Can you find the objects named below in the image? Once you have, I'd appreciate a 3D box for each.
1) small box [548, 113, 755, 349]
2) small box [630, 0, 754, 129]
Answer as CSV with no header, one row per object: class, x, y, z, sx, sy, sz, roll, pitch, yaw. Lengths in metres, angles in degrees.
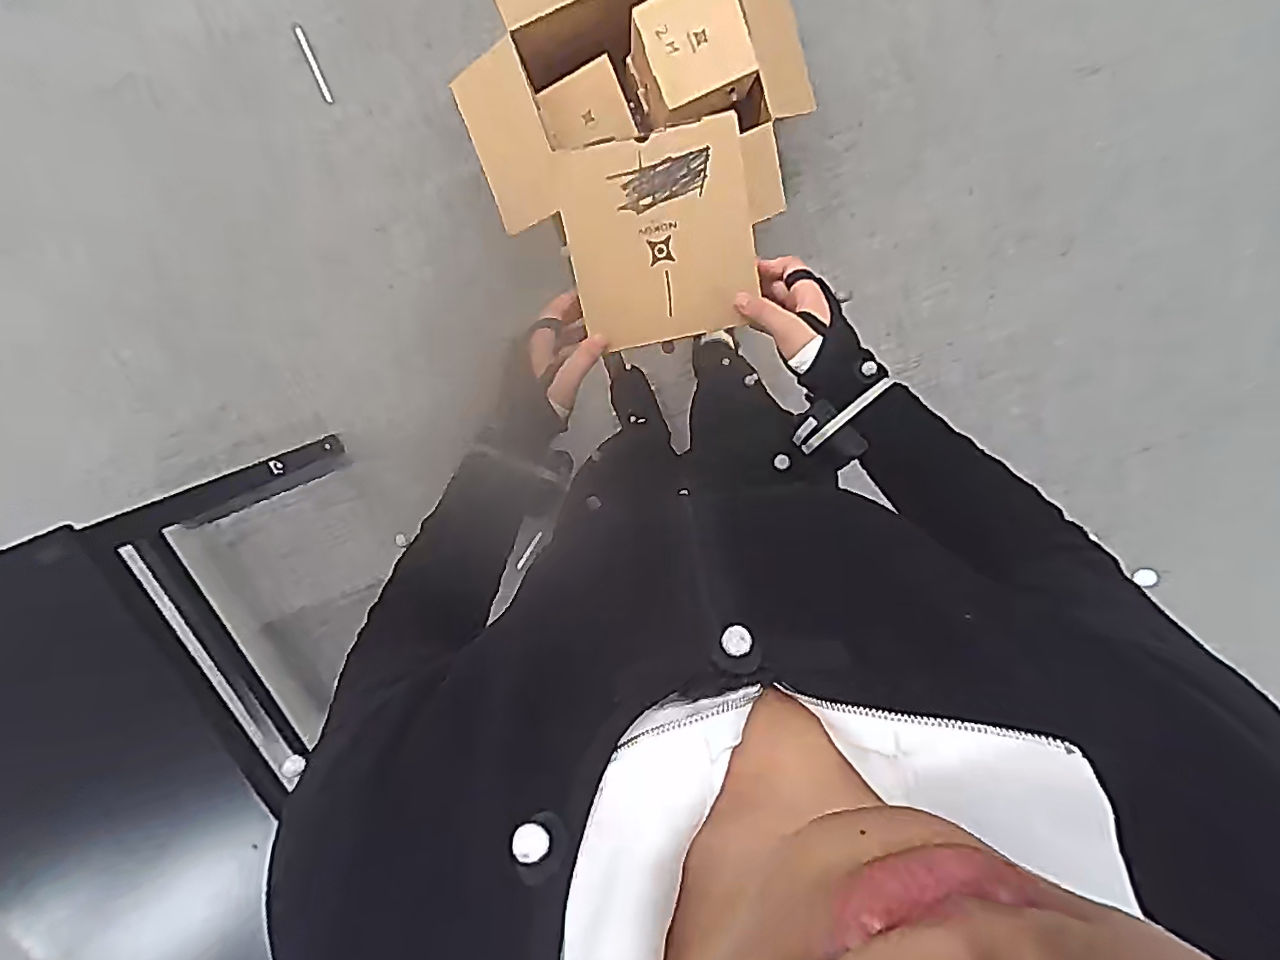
small box,0.013,-0.241,0.566,0.168,0.176,0.179,-11,106,4
small box,0.088,-0.770,1.004,0.179,0.176,0.168,-22,105,5
